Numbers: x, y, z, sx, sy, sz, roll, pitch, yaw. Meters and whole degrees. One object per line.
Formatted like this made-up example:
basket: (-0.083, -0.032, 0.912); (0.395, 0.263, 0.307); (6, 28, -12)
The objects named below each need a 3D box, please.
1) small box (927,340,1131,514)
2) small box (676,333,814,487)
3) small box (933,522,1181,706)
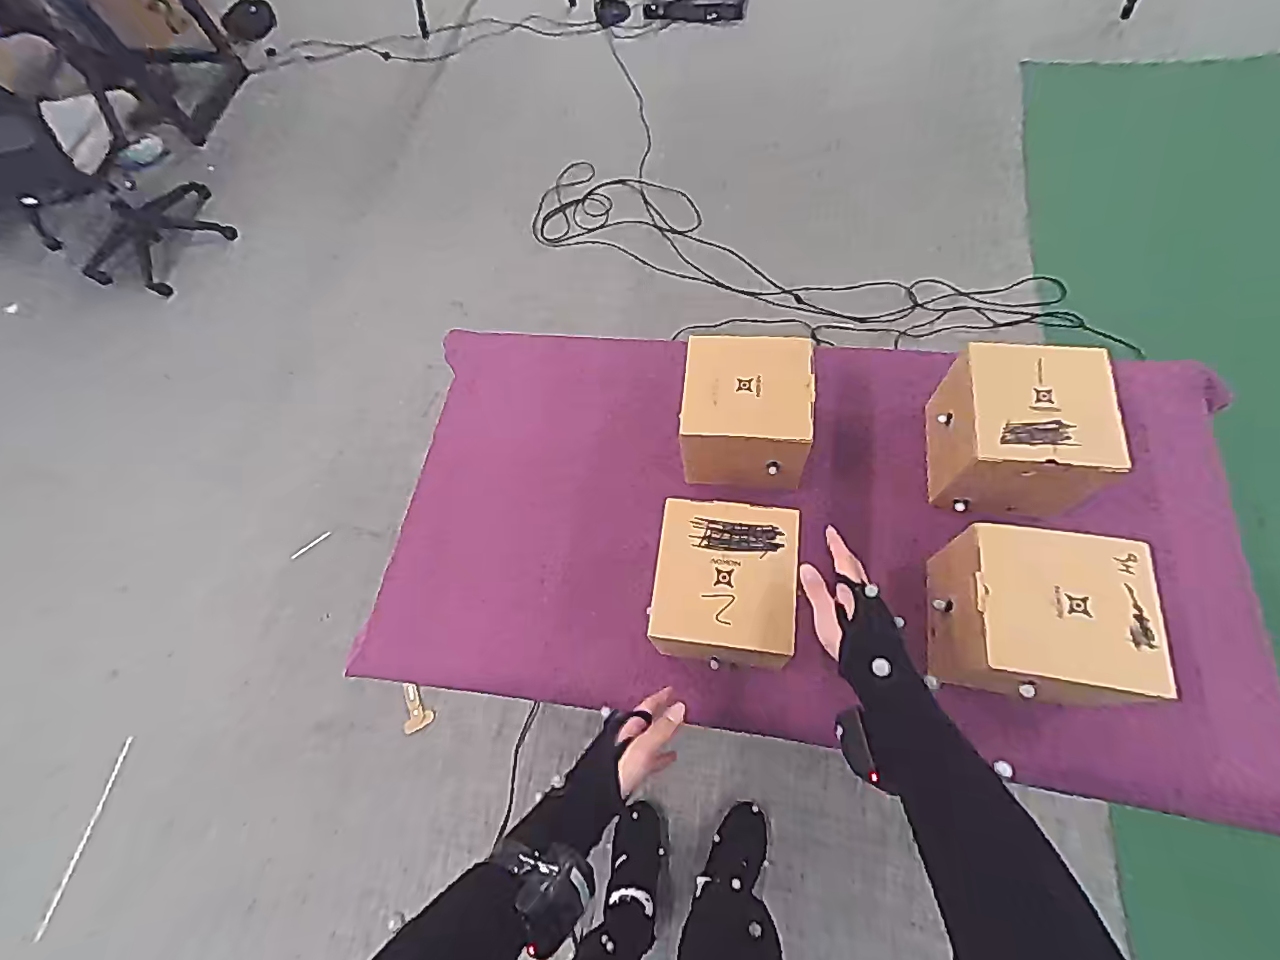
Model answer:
small box: (0.505, -0.065, 0.732); (0.168, 0.176, 0.179); (6, 67, 11)
small box: (0.153, -0.097, 0.800); (0.179, 0.176, 0.168); (4, 67, 11)
small box: (0.461, 0.163, 0.636); (0.179, 0.176, 0.168); (7, 67, 12)
